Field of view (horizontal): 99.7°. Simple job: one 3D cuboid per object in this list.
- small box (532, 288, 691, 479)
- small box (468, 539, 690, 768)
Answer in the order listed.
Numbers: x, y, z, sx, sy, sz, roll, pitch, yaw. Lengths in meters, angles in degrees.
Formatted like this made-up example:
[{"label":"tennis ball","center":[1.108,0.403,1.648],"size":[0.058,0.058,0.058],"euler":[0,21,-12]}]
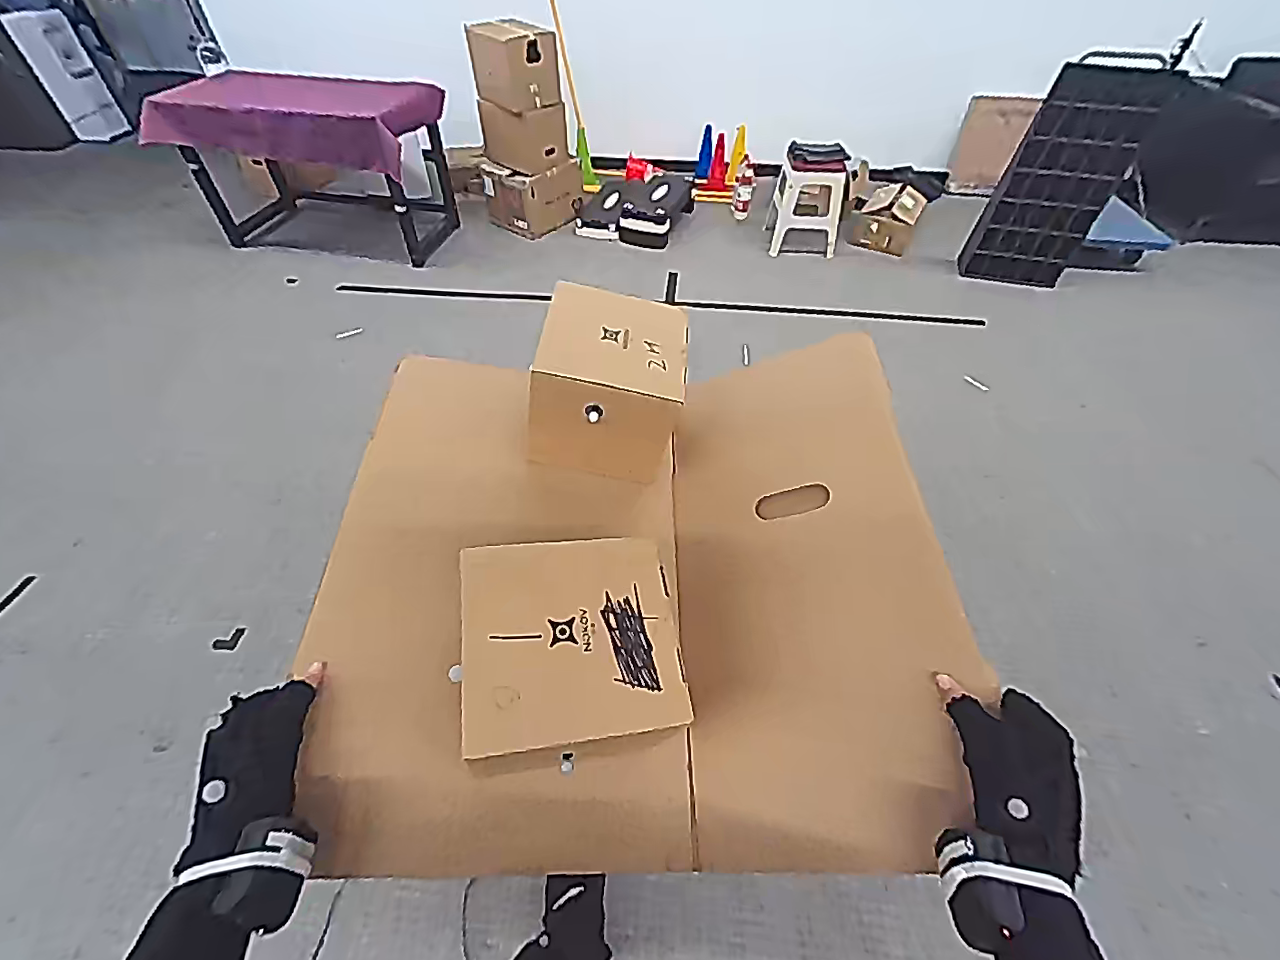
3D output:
[{"label":"small box","center":[-0.042,-0.120,0.722],"size":[0.179,0.176,0.168],"euler":[12,55,-7]},{"label":"small box","center":[-0.070,0.169,0.521],"size":[0.179,0.176,0.168],"euler":[-2,58,-15]}]
